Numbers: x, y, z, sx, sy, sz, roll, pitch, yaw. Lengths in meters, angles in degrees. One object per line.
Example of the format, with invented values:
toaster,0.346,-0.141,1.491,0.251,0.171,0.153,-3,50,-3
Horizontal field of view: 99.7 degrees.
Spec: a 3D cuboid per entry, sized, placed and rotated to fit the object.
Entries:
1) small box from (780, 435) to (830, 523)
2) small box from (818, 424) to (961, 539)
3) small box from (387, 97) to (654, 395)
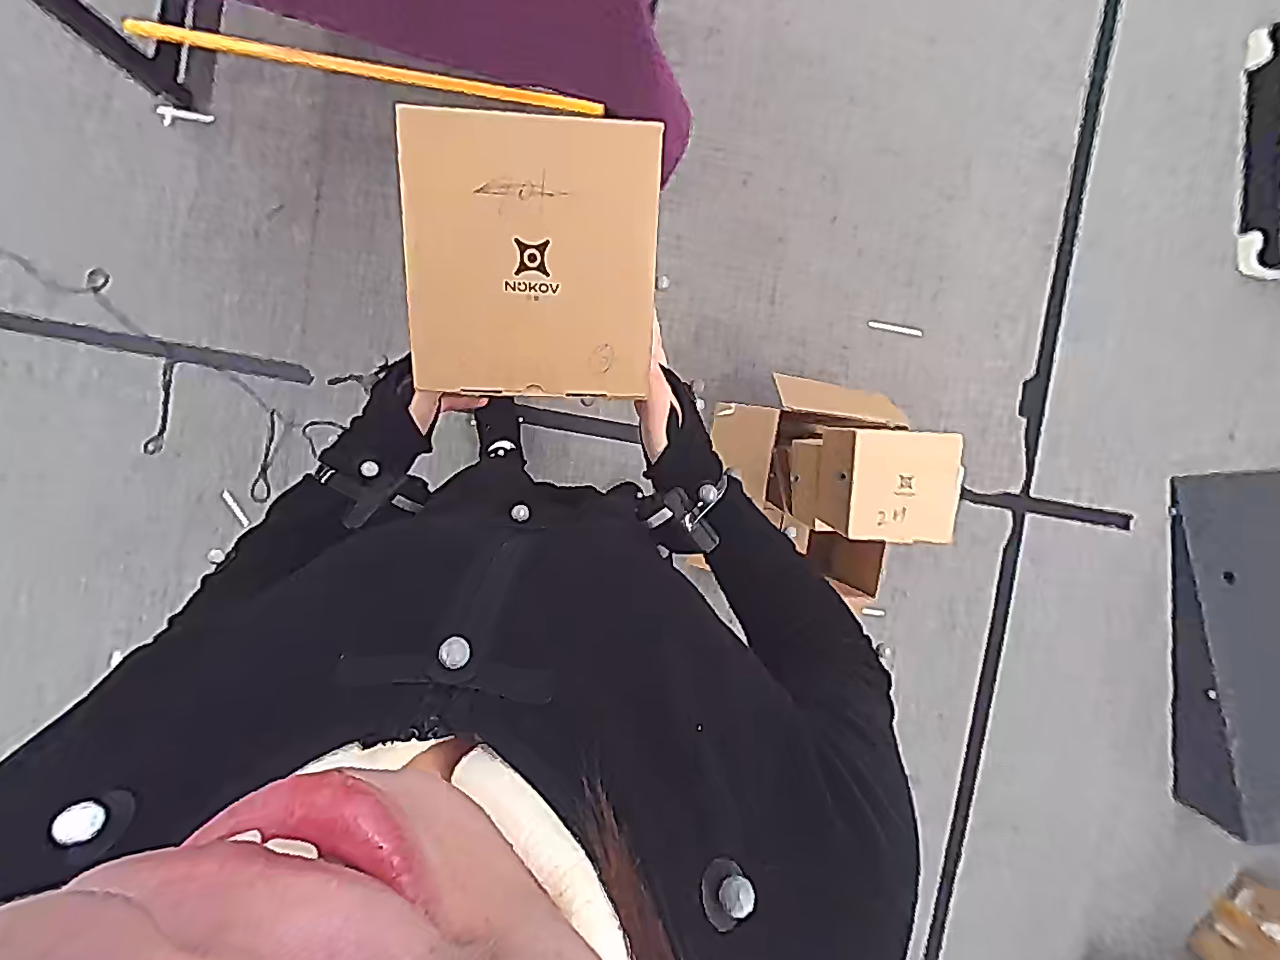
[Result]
small box,0.435,-0.013,1.256,0.168,0.176,0.179,-11,97,2
small box,0.414,-0.005,0.926,0.168,0.176,0.179,3,97,1
small box,-0.080,-0.169,0.431,0.168,0.176,0.179,1,106,-4
